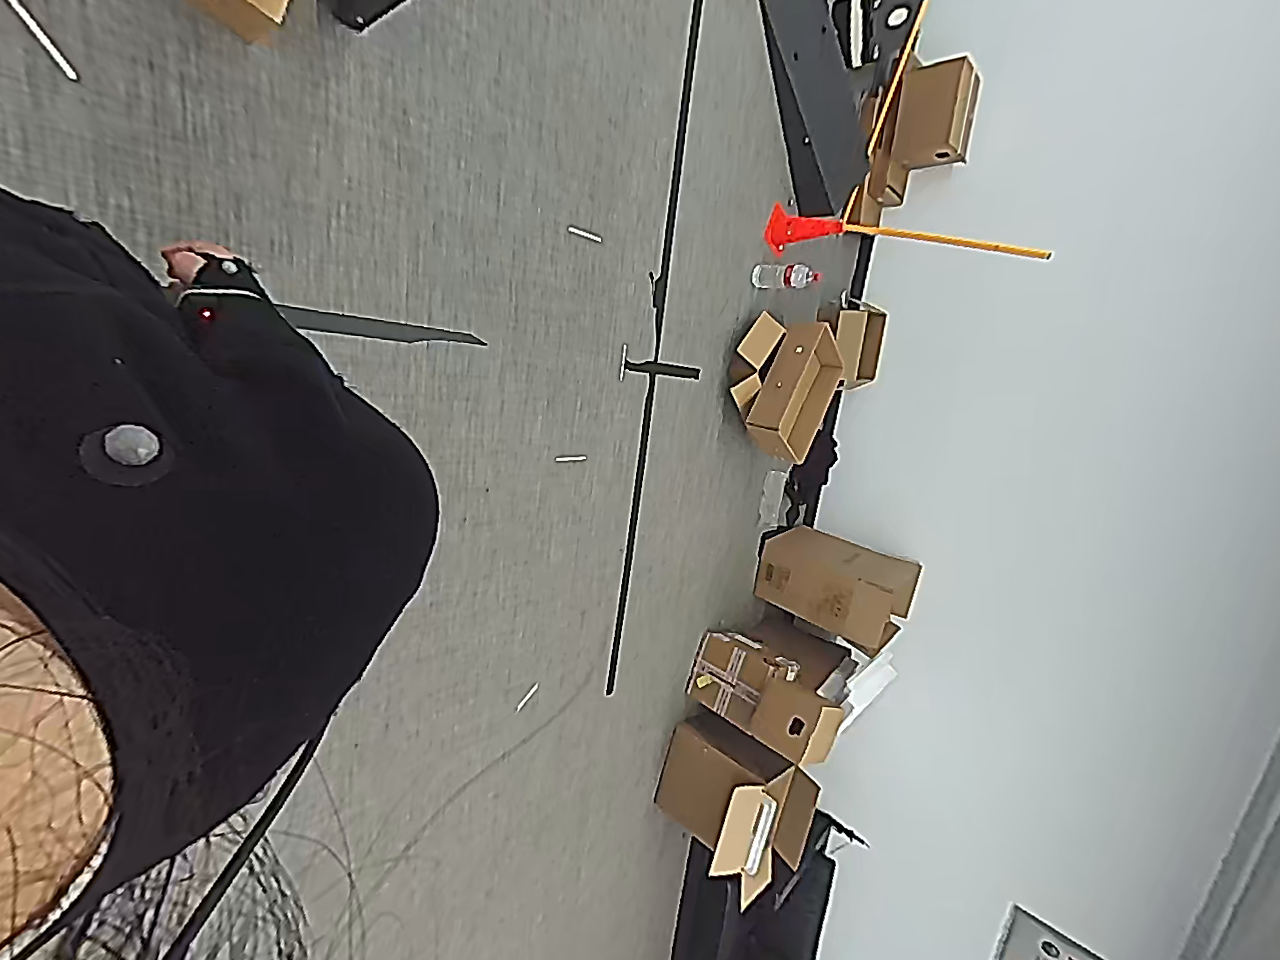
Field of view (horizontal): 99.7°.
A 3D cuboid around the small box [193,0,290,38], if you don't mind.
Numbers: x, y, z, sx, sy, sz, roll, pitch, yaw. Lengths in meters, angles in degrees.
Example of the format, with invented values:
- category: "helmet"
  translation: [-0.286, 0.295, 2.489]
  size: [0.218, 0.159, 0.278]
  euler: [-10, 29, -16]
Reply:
- category: "small box"
  translation: [-0.764, -0.974, 1.007]
  size: [0.179, 0.176, 0.168]
  euler: [19, 90, -50]
